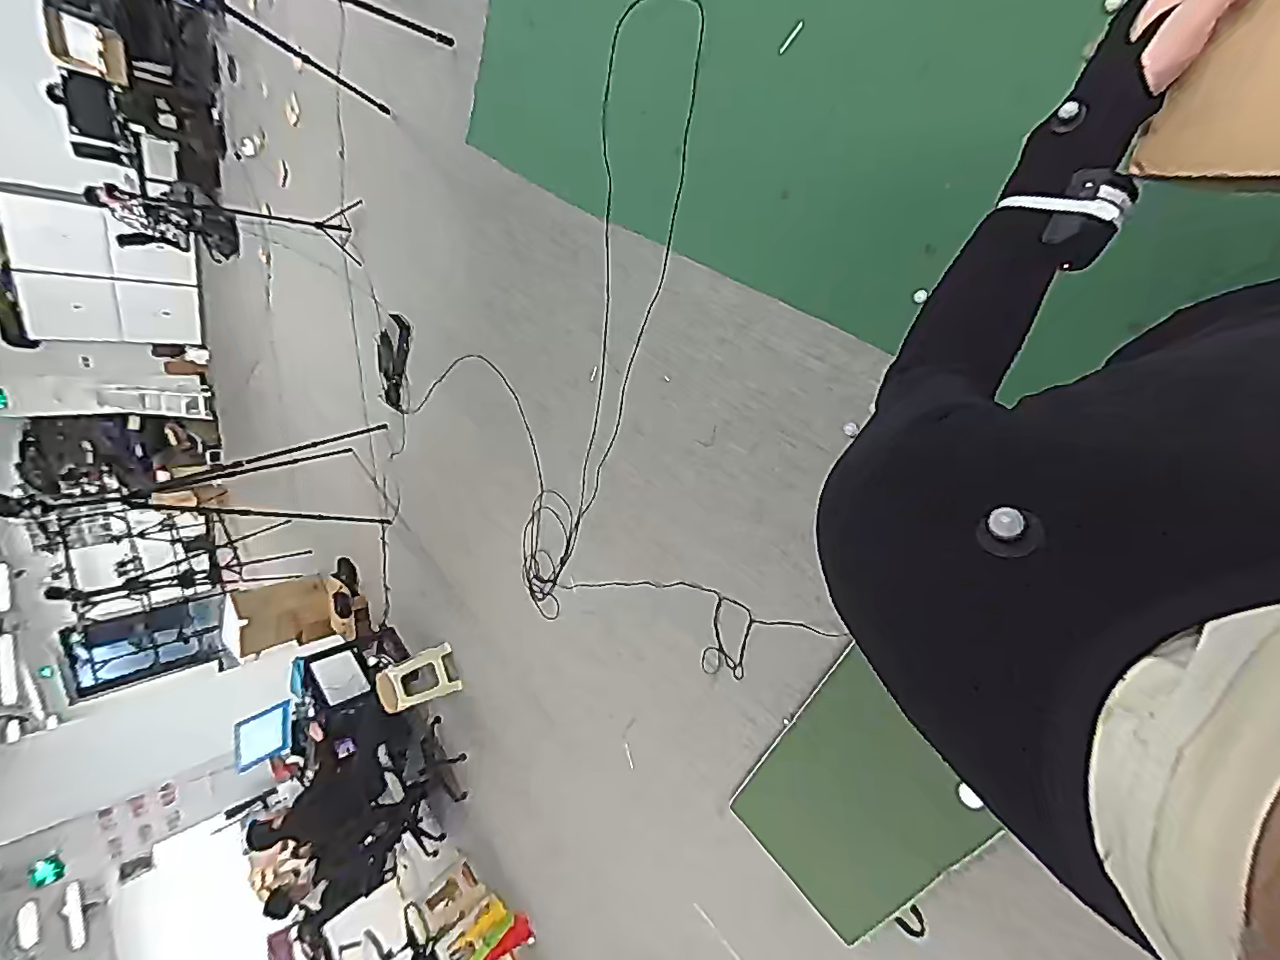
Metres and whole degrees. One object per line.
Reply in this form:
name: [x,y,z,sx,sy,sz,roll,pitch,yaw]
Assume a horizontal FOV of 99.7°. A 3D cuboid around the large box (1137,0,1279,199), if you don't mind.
large box: [0.664,-0.367,0.356,0.408,0.320,0.320,28,127,40]
